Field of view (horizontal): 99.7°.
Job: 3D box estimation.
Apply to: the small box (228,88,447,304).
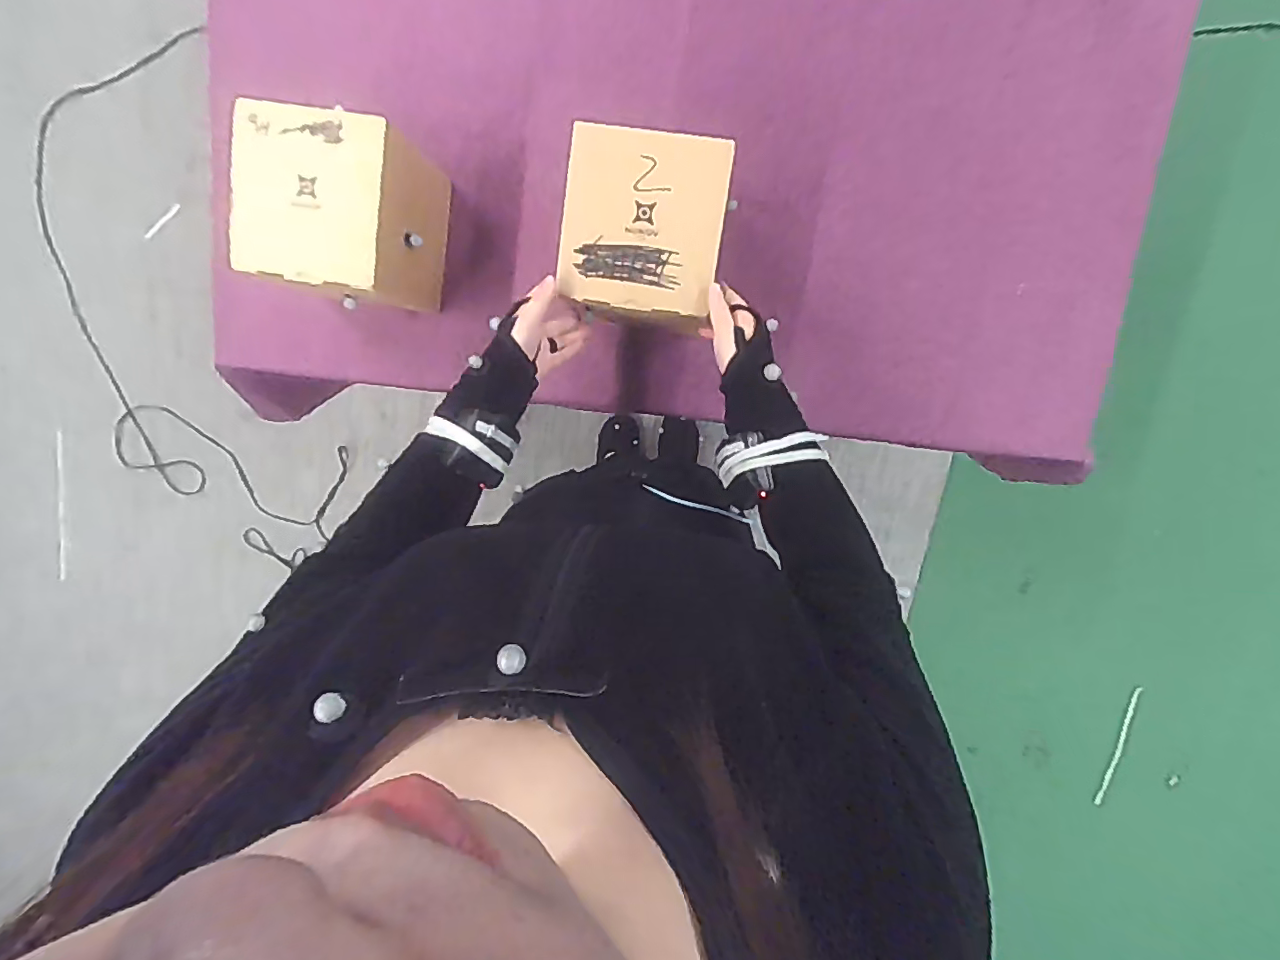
[{"bbox_3d":[-0.347,-0.319,0.647,0.168,0.176,0.179,10,100,1],"label":"small box"}]
